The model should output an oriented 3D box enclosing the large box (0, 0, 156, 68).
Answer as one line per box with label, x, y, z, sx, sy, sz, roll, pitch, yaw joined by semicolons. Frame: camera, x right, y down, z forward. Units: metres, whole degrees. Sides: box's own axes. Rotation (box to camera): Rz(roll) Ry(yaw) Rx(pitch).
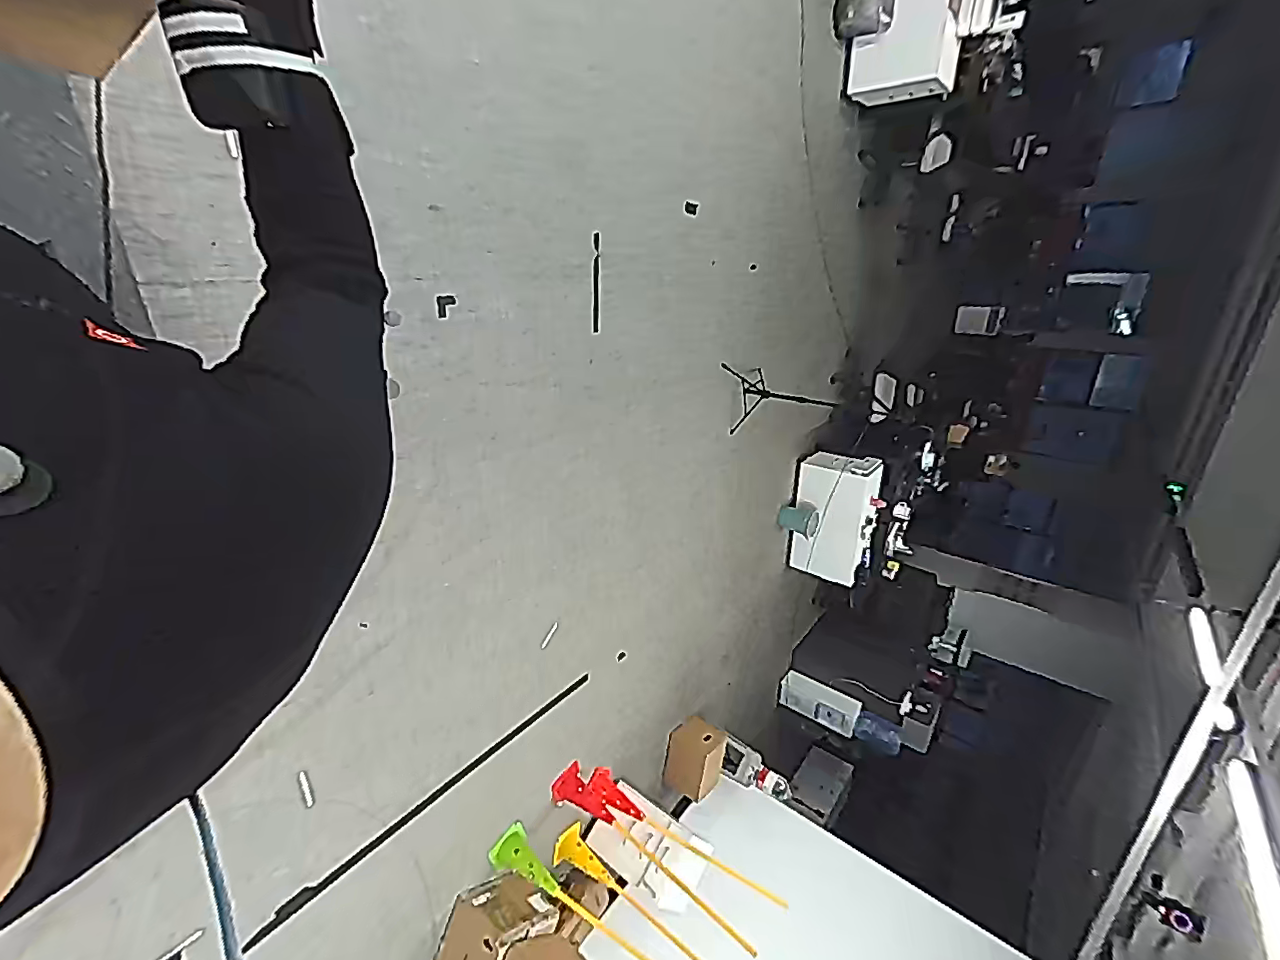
large box;-0.500;-0.446;0.220;0.408;0.320;0.320;-16;118;-48
